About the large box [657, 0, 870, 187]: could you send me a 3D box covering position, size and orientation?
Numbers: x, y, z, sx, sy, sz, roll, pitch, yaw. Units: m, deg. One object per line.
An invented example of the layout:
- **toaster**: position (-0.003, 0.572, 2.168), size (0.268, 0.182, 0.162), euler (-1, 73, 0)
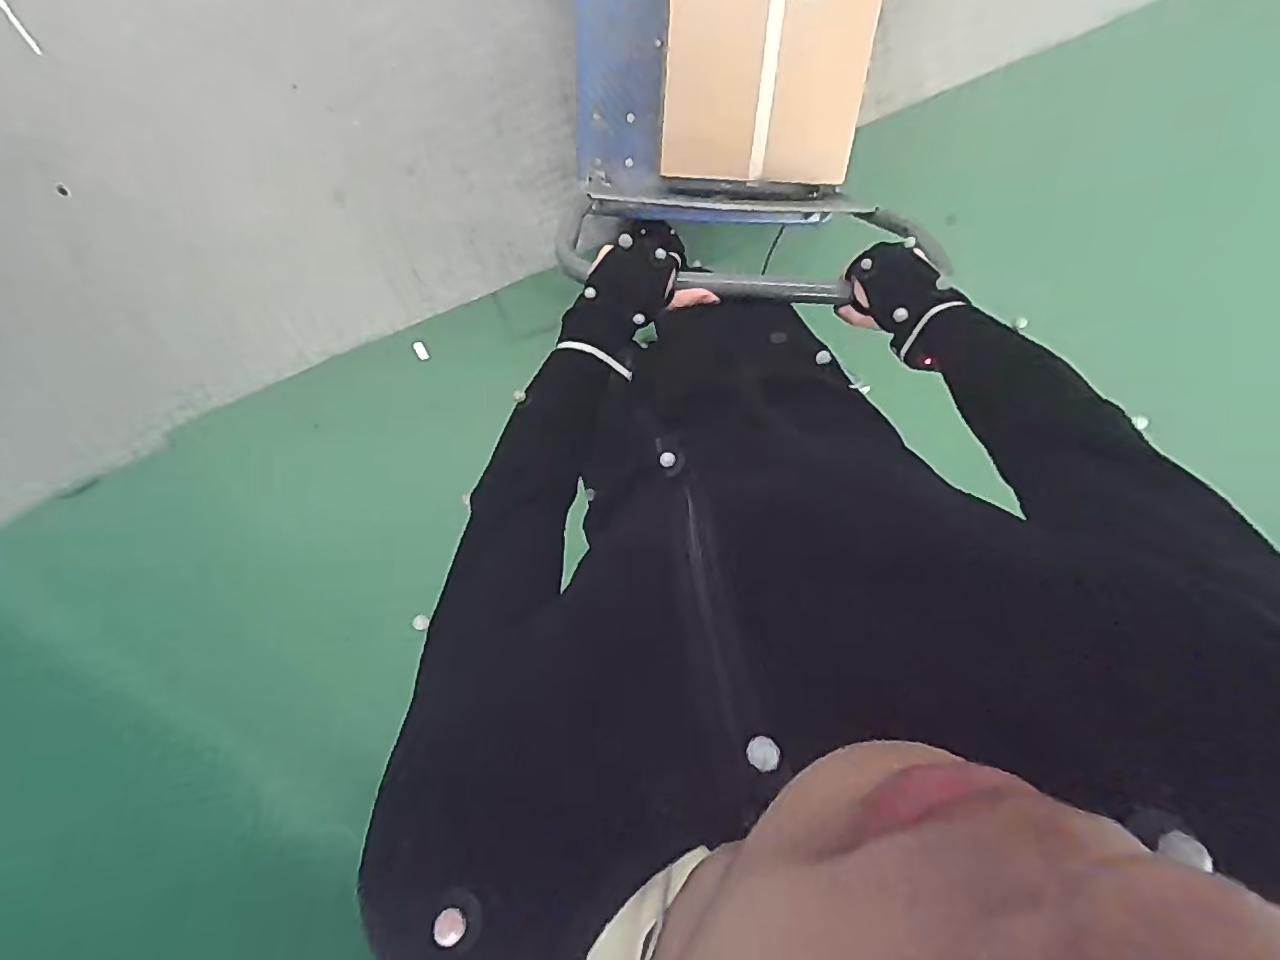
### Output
- **large box**: position (0.195, -0.755, 0.963), size (0.320, 0.320, 0.408), euler (3, 119, -1)
